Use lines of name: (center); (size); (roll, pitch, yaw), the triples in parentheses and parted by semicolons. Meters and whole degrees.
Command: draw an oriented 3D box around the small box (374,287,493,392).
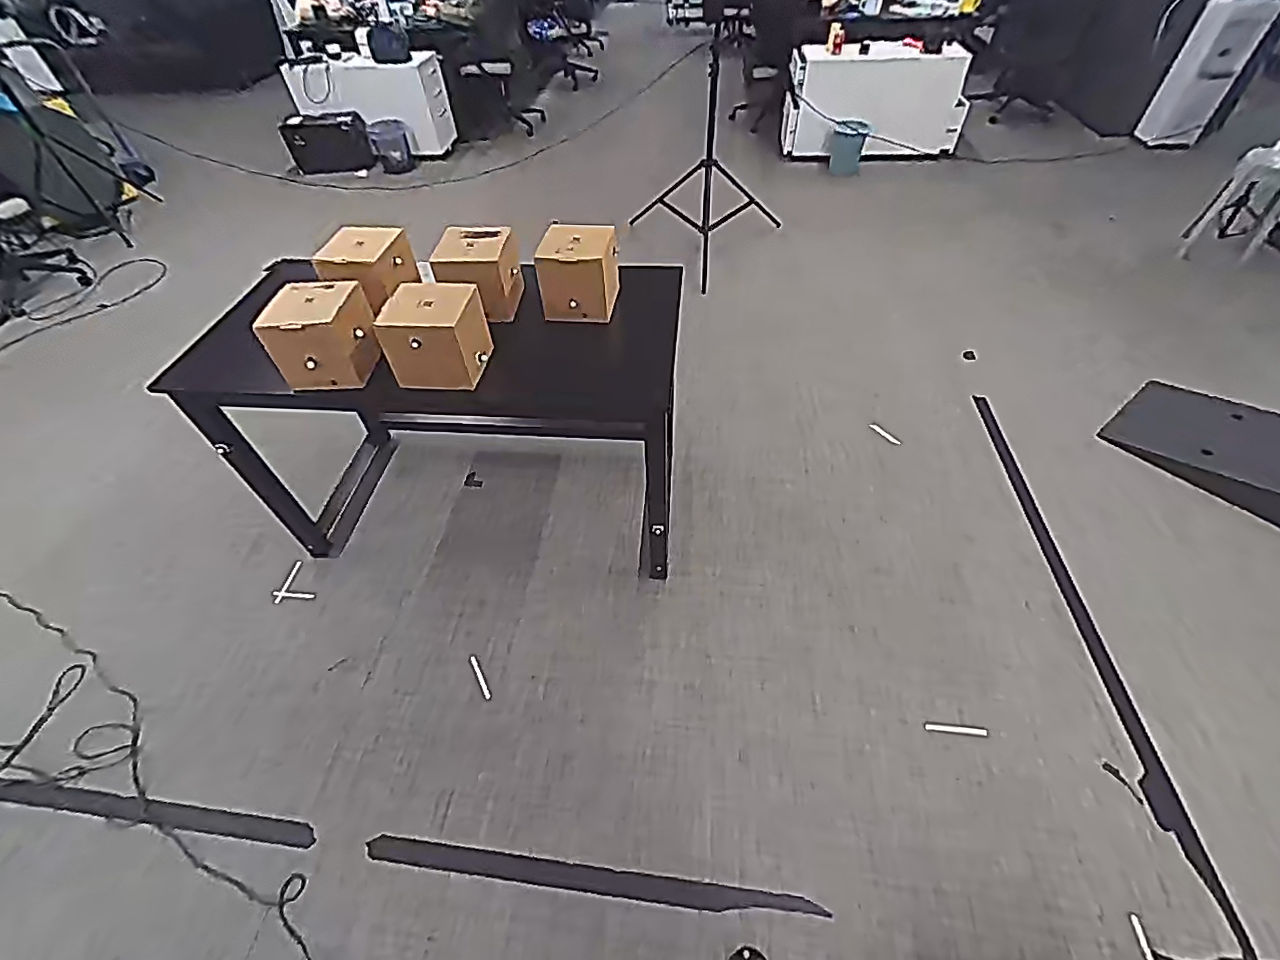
small box: (-0.449, -0.311, 1.205); (0.179, 0.176, 0.168); (2, 49, 4)

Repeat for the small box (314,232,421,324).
small box: (-0.690, -0.519, 1.399); (0.168, 0.176, 0.179); (4, 50, 6)

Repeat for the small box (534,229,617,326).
small box: (-0.154, -0.513, 1.365); (0.168, 0.176, 0.179); (4, 49, 7)

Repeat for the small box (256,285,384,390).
small box: (-0.706, -0.316, 1.220); (0.168, 0.176, 0.179); (-2, 49, 1)
